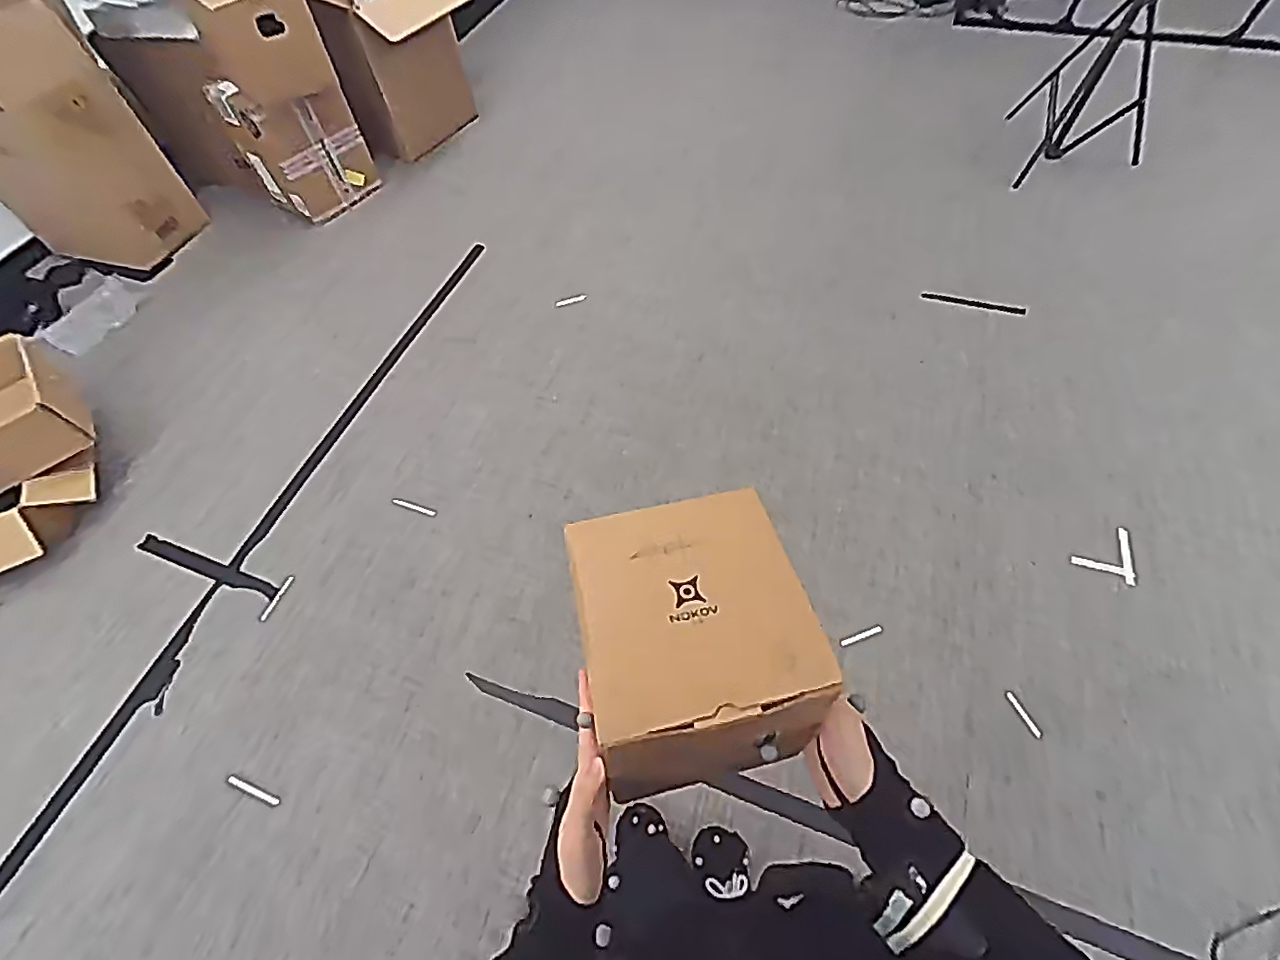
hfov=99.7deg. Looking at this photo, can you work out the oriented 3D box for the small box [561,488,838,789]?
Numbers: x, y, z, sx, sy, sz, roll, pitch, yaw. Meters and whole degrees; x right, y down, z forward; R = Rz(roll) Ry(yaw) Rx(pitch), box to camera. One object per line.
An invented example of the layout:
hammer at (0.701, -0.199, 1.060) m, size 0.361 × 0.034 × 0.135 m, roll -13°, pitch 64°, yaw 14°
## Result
small box at (0.036, 0.138, 0.454) m, size 0.168 × 0.176 × 0.179 m, roll -11°, pitch 48°, yaw -8°
